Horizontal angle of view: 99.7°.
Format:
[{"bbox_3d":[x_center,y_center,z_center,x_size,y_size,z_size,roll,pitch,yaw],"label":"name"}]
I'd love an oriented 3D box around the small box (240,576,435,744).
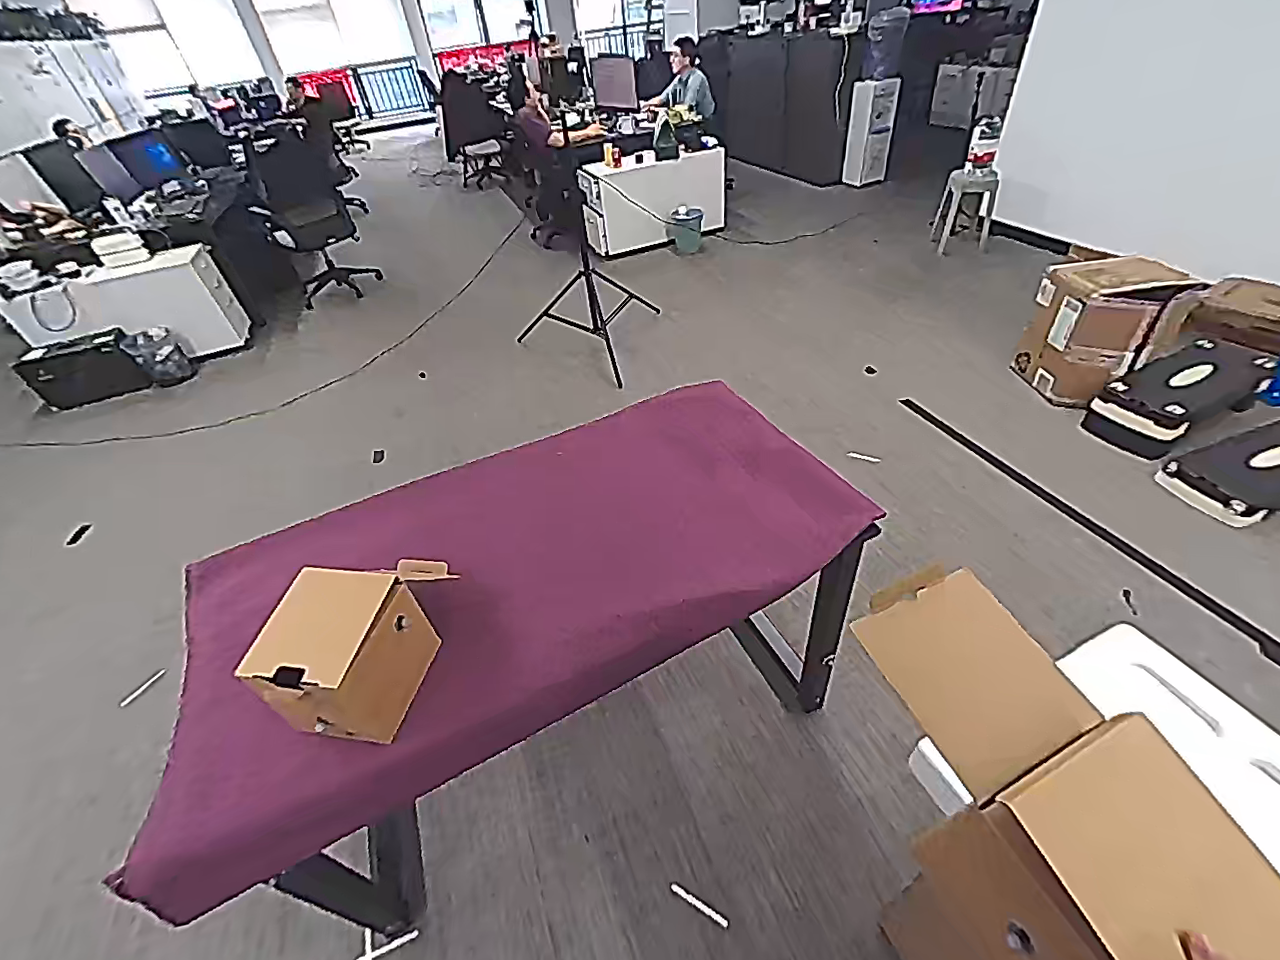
[{"bbox_3d":[-0.440,0.272,0.826,0.168,0.176,0.179,2,41,12],"label":"small box"}]
